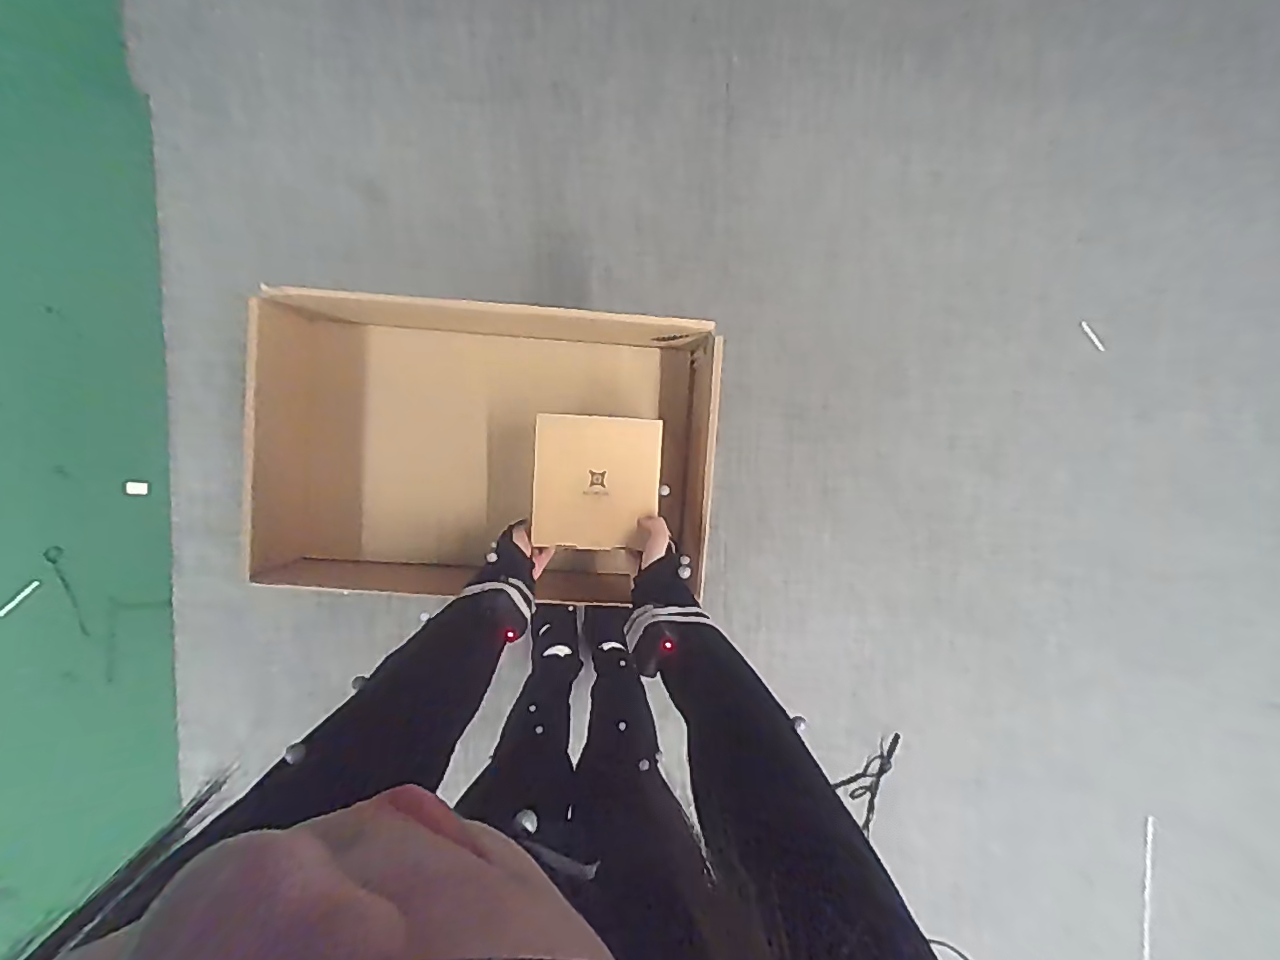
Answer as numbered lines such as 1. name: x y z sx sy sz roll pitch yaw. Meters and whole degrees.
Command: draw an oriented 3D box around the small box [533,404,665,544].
1. small box: -0.059 -0.012 0.783 0.168 0.176 0.179 3 94 -4
